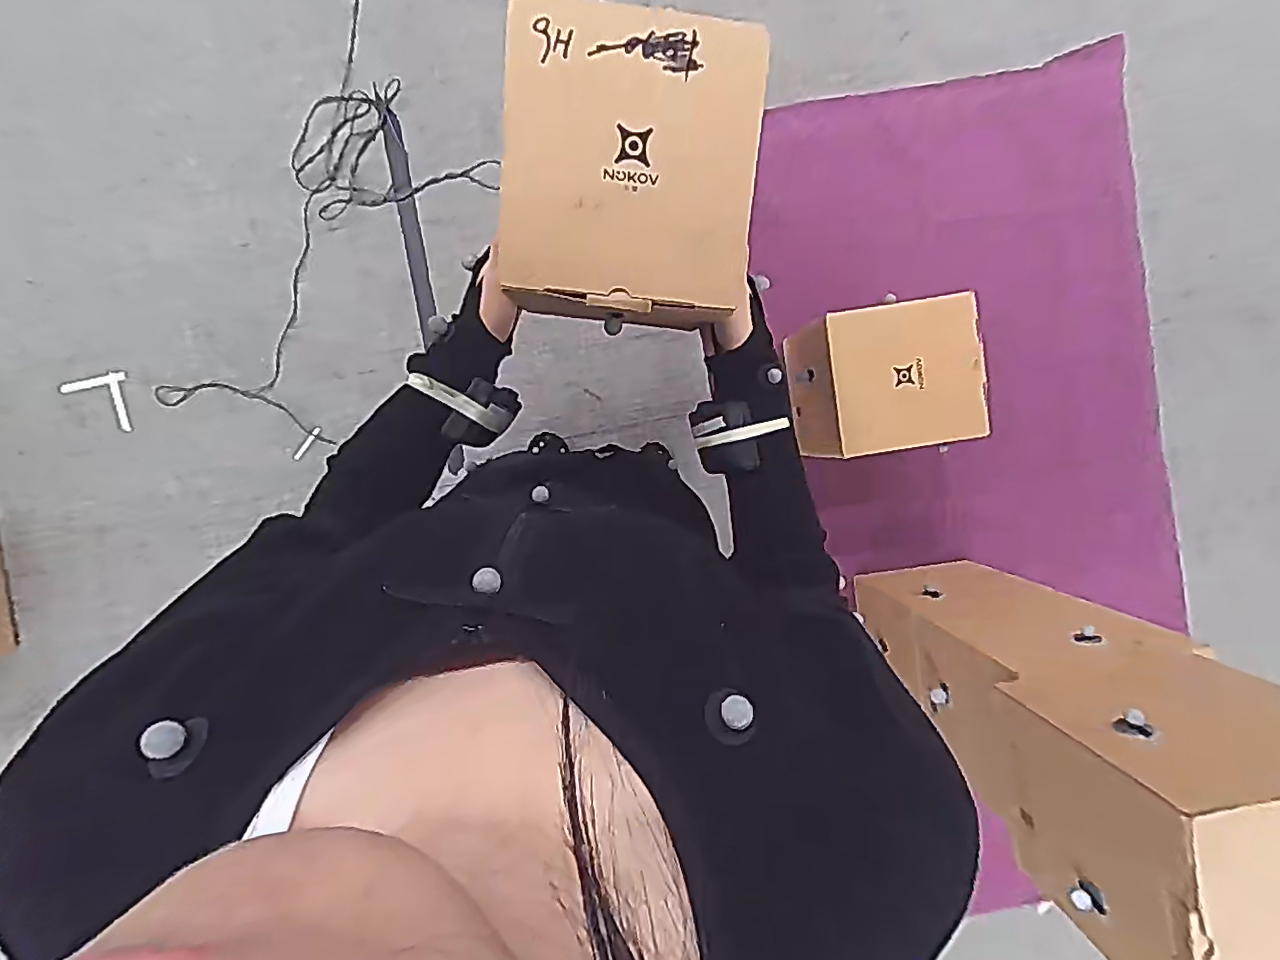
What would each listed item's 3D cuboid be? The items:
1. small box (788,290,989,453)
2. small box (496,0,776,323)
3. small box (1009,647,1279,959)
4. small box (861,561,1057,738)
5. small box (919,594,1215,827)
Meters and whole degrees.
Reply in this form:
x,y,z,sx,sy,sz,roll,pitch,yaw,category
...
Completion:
x,y,z,sx,sy,sz,roll,pitch,yaw,category
0.300,-0.126,0.692,0.179,0.176,0.168,-9,94,-3,small box
-0.011,-0.222,0.423,0.168,0.176,0.179,5,102,-6,small box
0.403,0.240,0.391,0.179,0.176,0.168,-11,95,-2,small box
0.409,0.211,0.716,0.179,0.176,0.168,-7,94,-2,small box
0.419,0.224,0.553,0.179,0.176,0.168,-8,94,-1,small box
